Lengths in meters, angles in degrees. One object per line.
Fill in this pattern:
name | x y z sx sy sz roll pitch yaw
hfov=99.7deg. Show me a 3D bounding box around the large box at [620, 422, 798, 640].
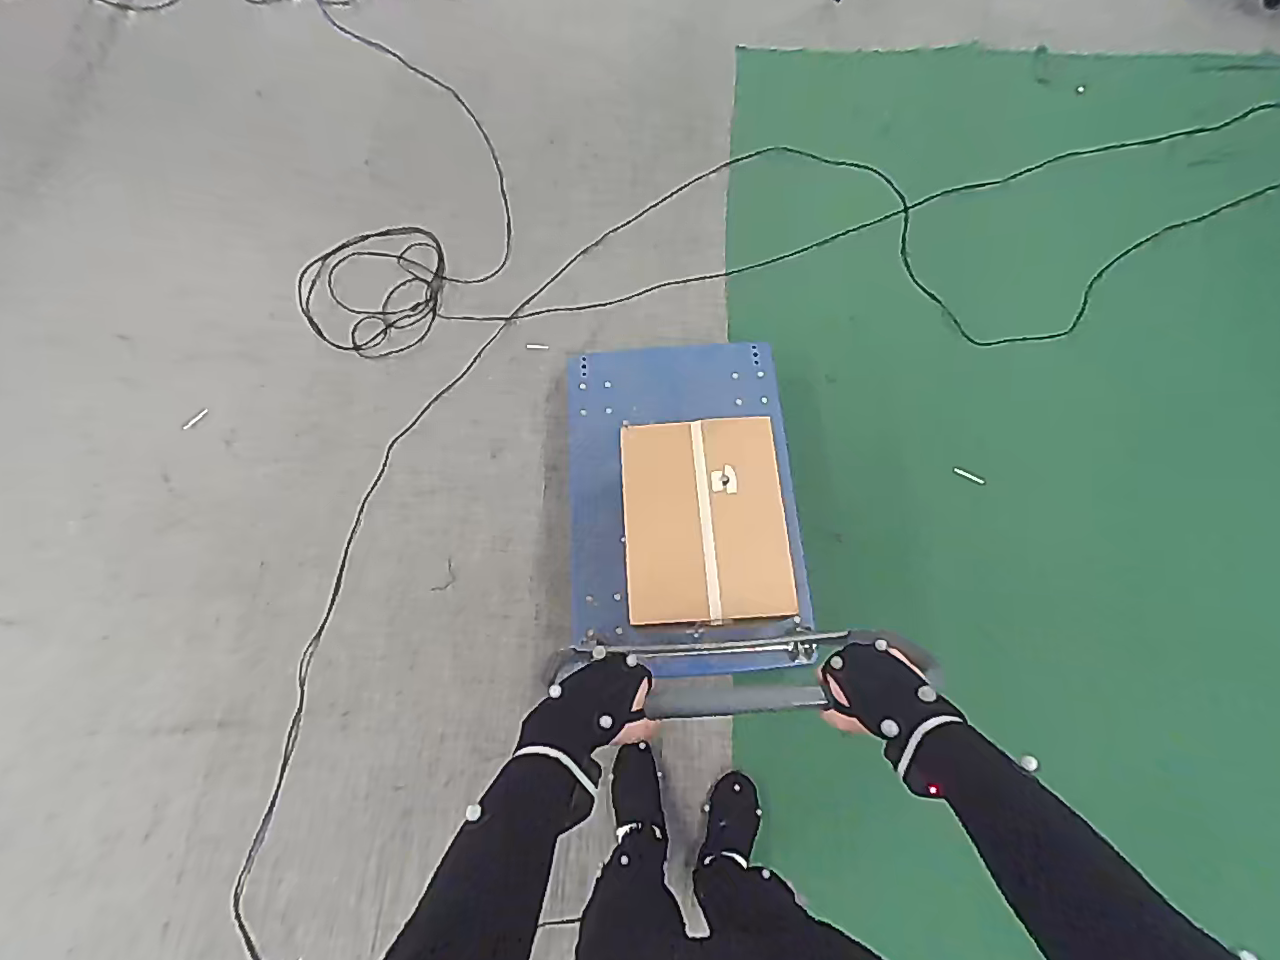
large box | 0.132 0.128 1.200 0.320 0.320 0.408 -4 70 0
